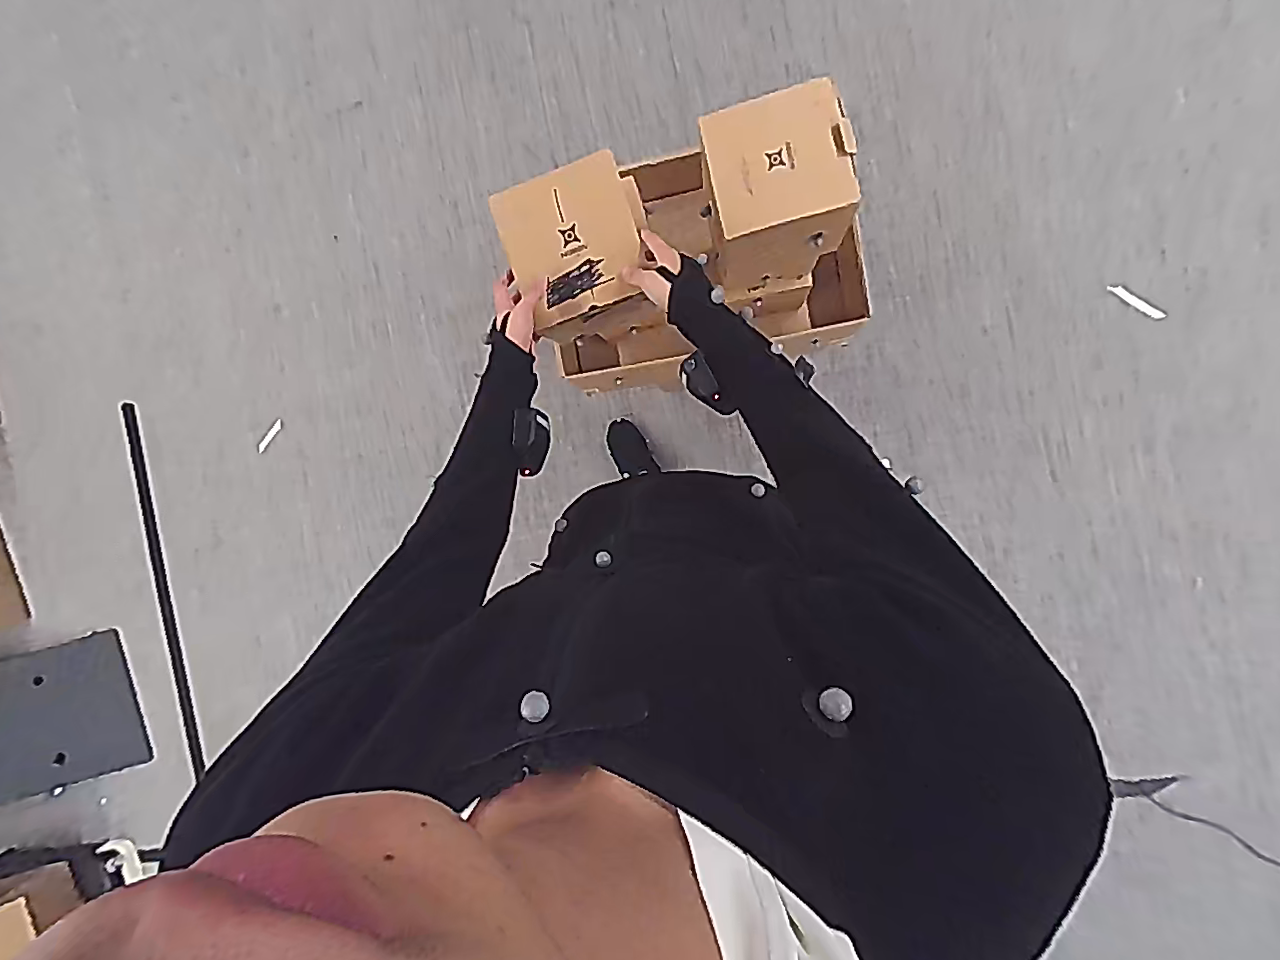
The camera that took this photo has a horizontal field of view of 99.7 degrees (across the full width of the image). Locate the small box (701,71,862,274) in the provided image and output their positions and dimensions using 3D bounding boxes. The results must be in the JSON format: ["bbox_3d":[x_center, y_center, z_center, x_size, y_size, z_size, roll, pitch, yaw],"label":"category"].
[{"bbox_3d":[0.188,-0.412,0.759,0.179,0.176,0.168,-12,90,10],"label":"small box"}]

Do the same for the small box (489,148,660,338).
[{"bbox_3d":[-0.075,-0.302,0.737,0.168,0.176,0.179,-18,96,7],"label":"small box"}]

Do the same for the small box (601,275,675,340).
[{"bbox_3d":[-0.032,-0.412,1.124,0.168,0.176,0.179,-18,90,9],"label":"small box"}]

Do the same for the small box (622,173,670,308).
[{"bbox_3d":[-0.051,-0.395,0.961,0.168,0.176,0.179,-17,91,9],"label":"small box"}]
